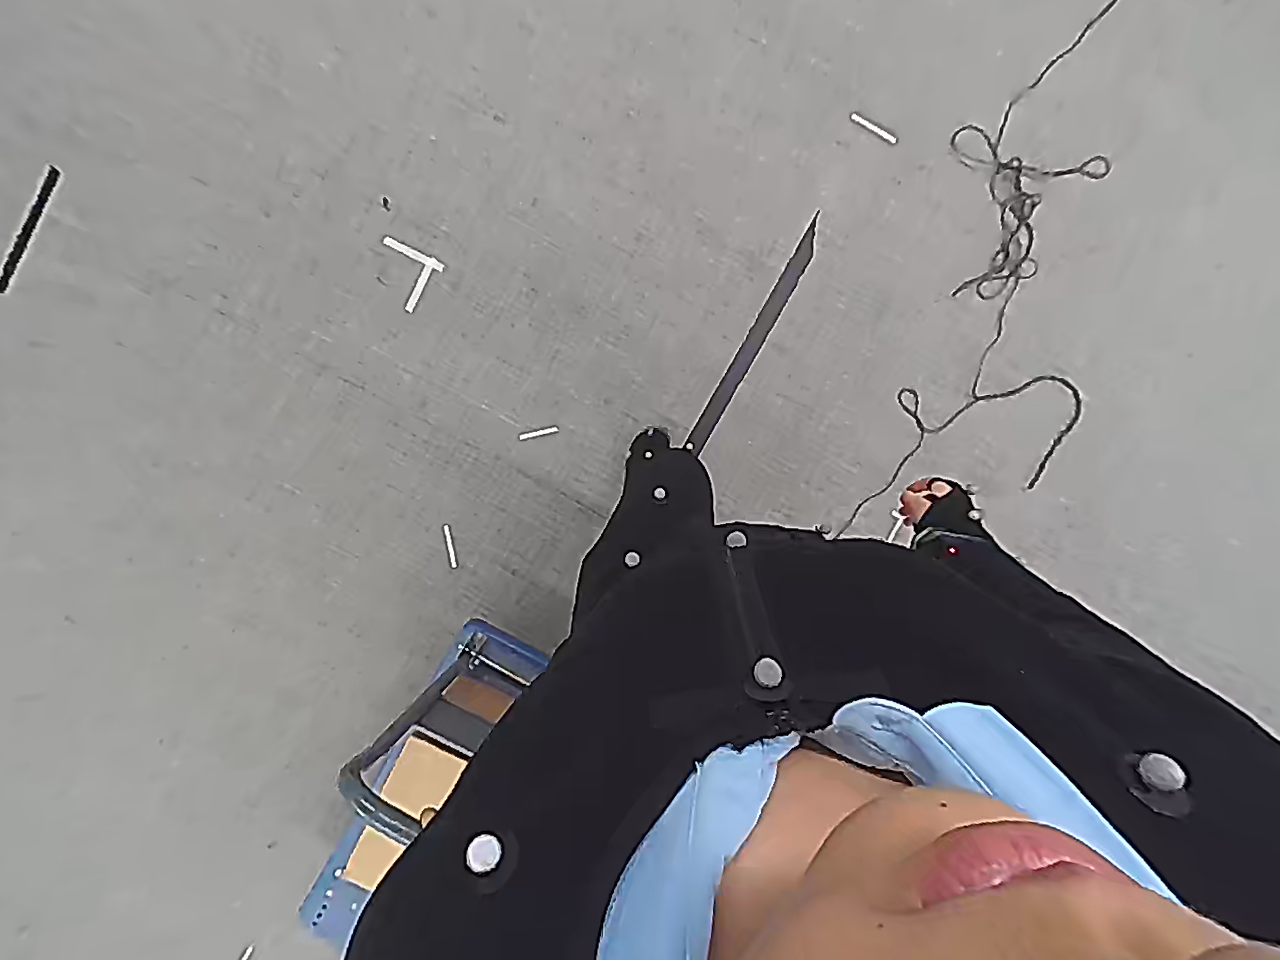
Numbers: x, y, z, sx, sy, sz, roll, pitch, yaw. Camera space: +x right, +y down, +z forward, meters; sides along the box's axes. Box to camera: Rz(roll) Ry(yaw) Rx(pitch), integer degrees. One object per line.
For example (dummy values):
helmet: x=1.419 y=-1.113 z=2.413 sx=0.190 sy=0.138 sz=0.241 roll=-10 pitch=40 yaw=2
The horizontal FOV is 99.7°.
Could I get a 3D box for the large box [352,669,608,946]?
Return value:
large box: x=-0.319 y=0.689 z=1.198 sx=0.408 sy=0.320 sz=0.320 roll=26 pitch=90 yaw=0
